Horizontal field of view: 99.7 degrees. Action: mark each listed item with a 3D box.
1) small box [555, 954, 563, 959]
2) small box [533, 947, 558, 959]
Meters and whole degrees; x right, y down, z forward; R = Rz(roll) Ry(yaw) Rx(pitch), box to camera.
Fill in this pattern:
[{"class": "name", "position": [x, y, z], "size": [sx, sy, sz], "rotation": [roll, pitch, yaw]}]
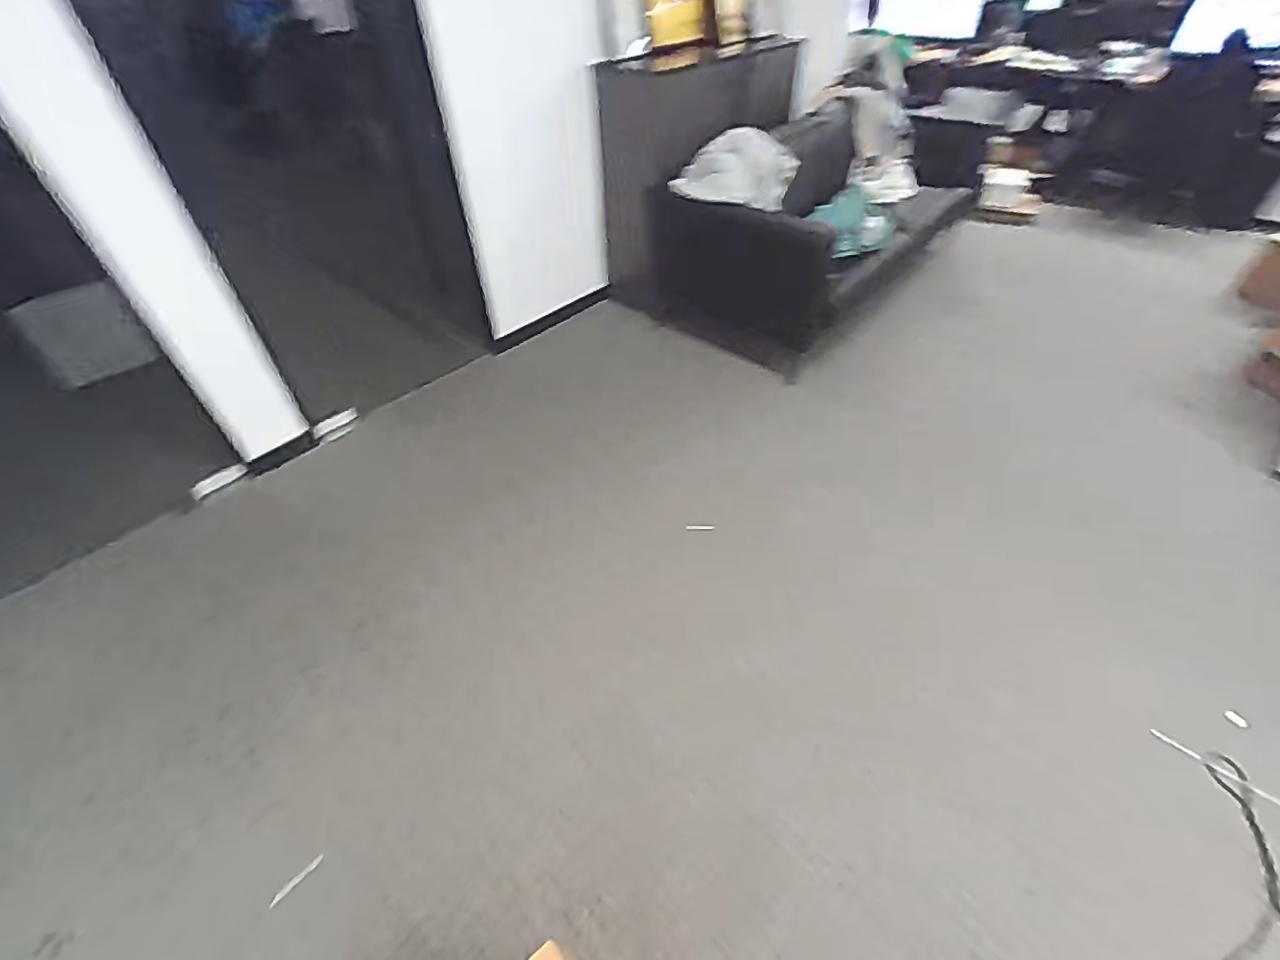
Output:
[{"class": "small box", "position": [-0.134, 0.900, 0.840], "size": [0.168, 0.176, 0.179], "rotation": [-35, 54, -29]}, {"class": "small box", "position": [-0.134, 0.788, 0.722], "size": [0.168, 0.176, 0.179], "rotation": [-32, 53, -28]}]
